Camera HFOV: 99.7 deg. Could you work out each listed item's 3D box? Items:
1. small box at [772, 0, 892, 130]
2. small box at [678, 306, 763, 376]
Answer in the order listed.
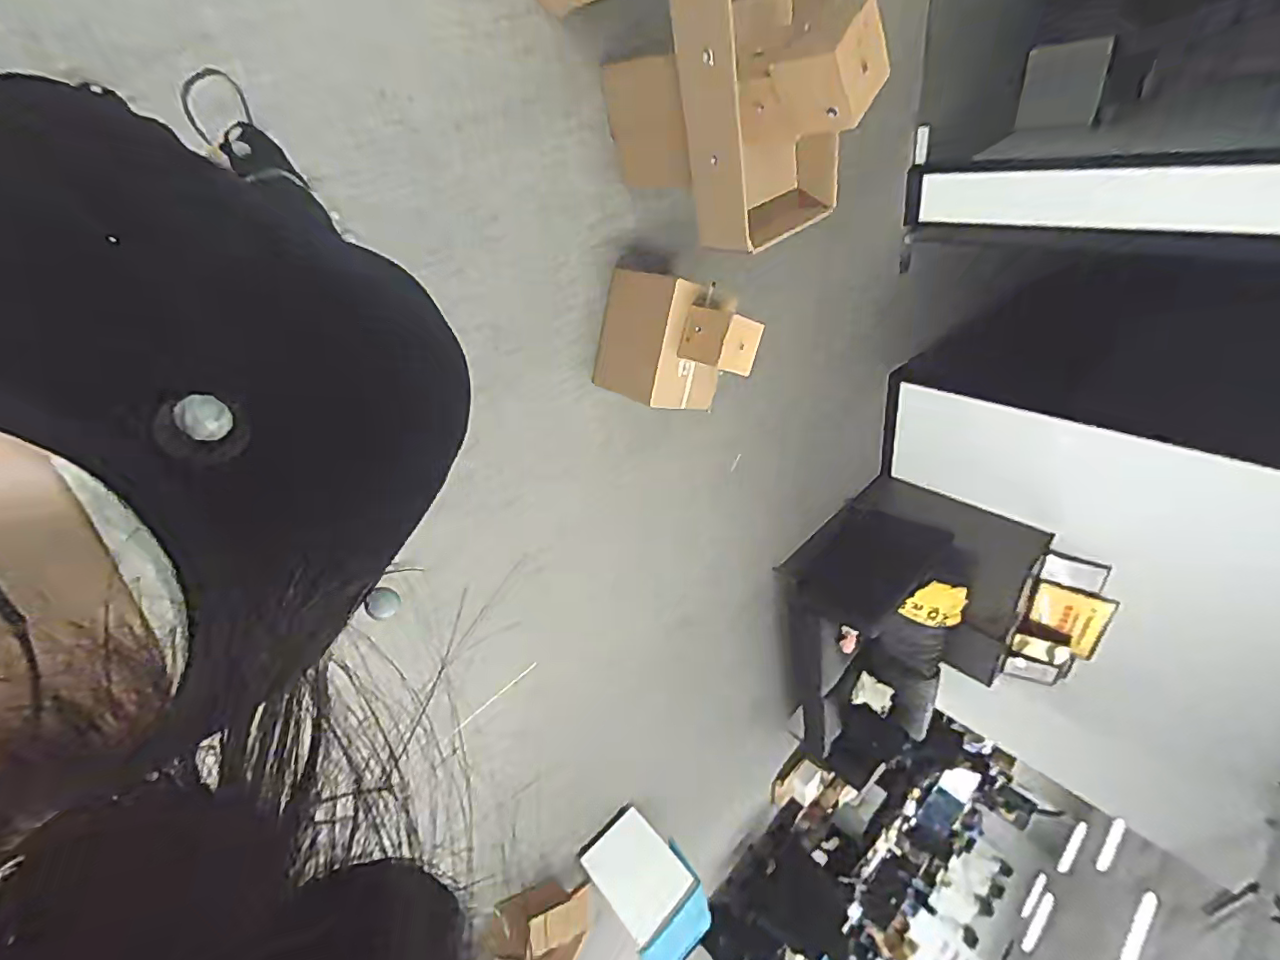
[{"bbox_3d":[0.426,-0.914,1.201,0.168,0.176,0.179,-57,137,-6],"label":"small box"},{"bbox_3d":[0.251,-0.438,1.699,0.179,0.176,0.168,1,111,-46],"label":"small box"}]
